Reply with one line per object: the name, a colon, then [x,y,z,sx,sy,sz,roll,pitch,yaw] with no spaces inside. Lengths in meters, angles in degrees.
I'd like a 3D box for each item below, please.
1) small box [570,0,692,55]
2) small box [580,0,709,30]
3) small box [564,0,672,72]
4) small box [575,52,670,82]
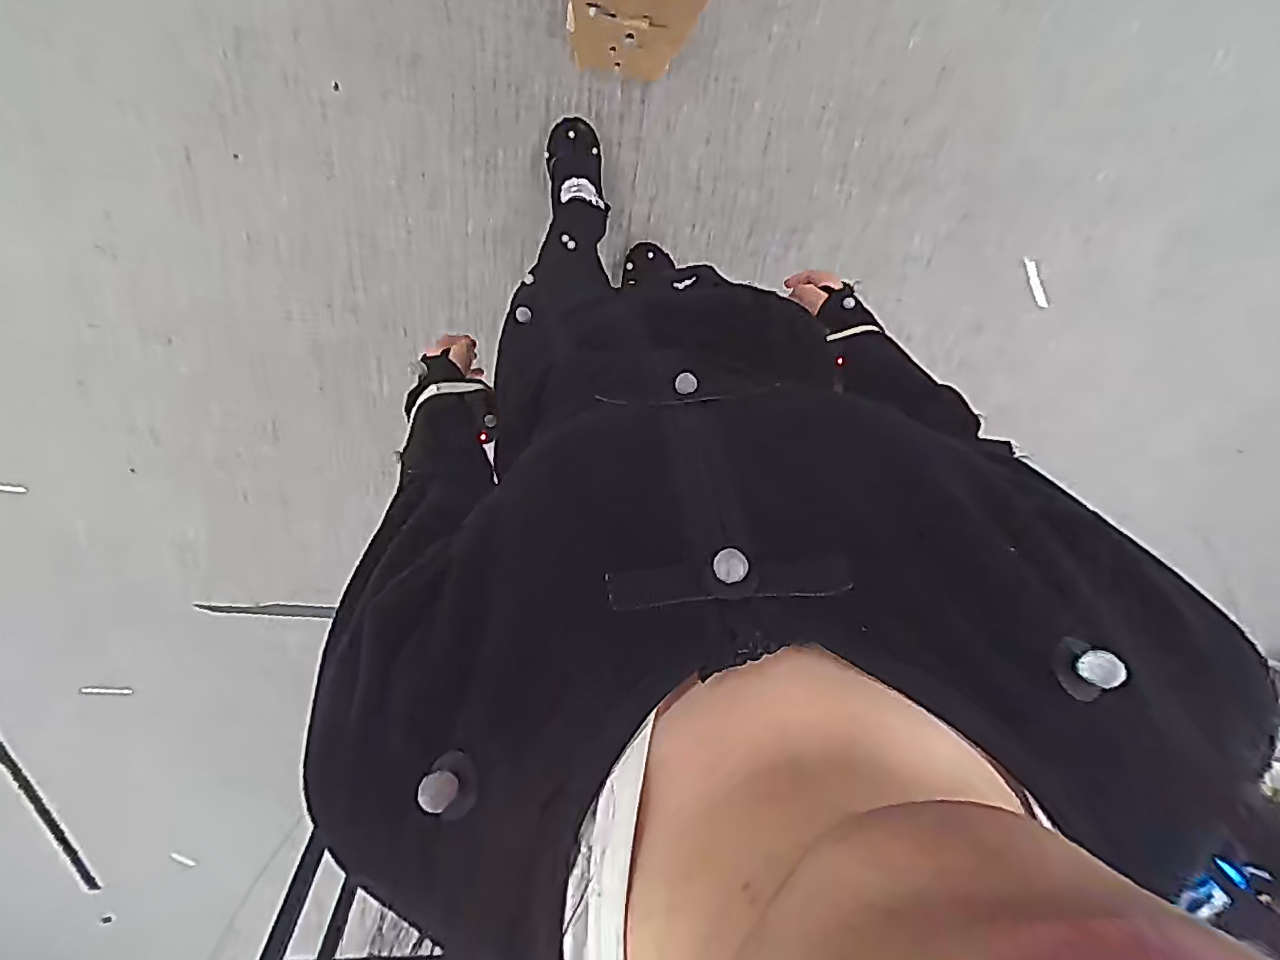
small box: [-0.001,-0.715,0.743,0.168,0.176,0.179,7,120,-9]
small box: [0.008,-0.637,0.598,0.168,0.176,0.179,6,118,-8]
small box: [-0.023,-0.794,0.884,0.179,0.176,0.168,7,119,-9]
small box: [-0.028,-0.877,1.026,0.179,0.176,0.168,5,119,-8]
